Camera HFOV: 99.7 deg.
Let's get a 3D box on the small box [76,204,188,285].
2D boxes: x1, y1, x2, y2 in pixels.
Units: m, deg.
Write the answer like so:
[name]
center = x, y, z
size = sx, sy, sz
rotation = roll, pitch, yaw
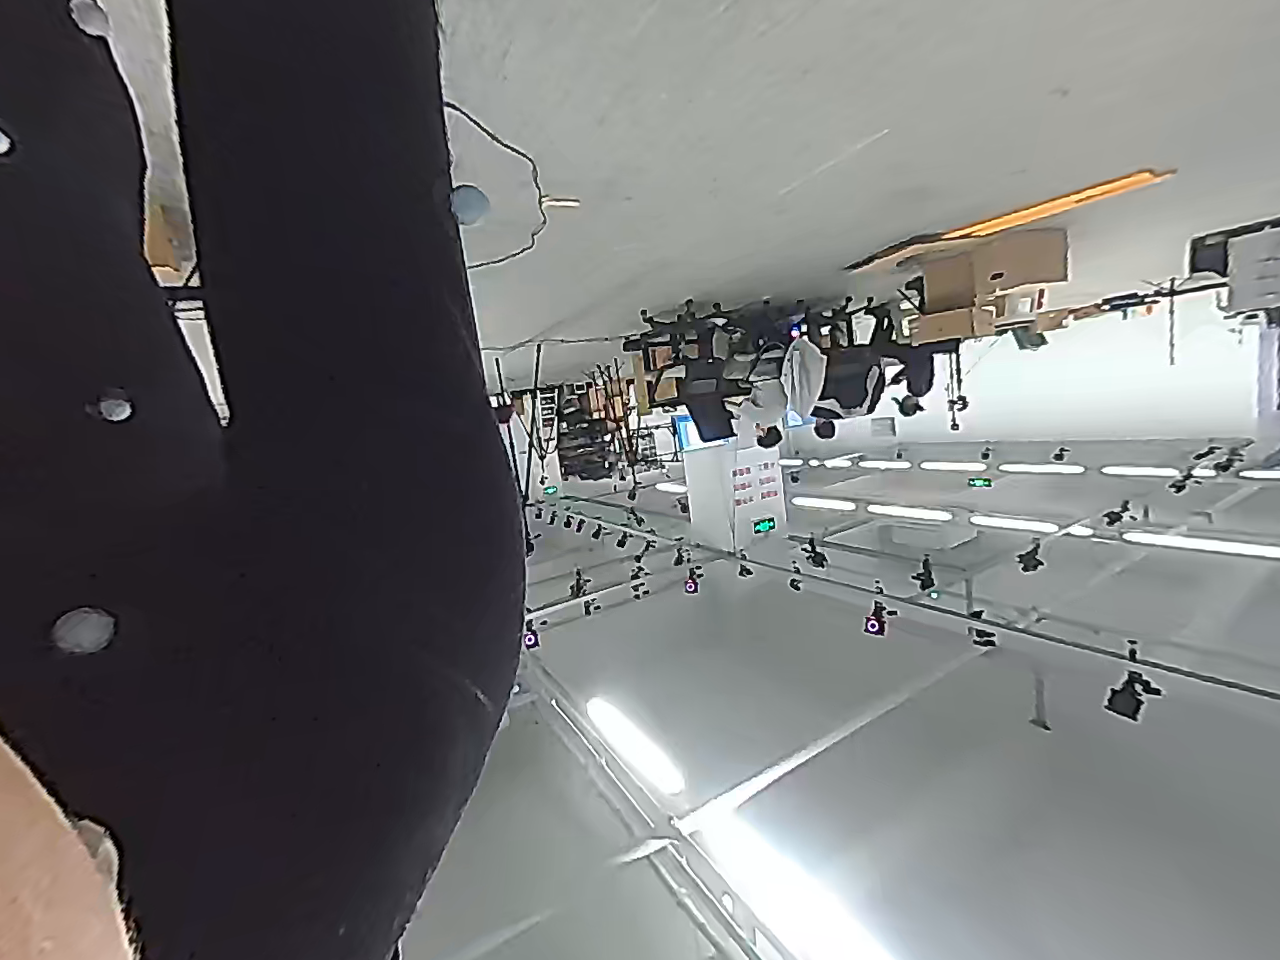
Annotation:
[small box]
center = -1.398, -0.648, 1.498
size = 0.179, 0.176, 0.168
rotation = -13, -172, -30
